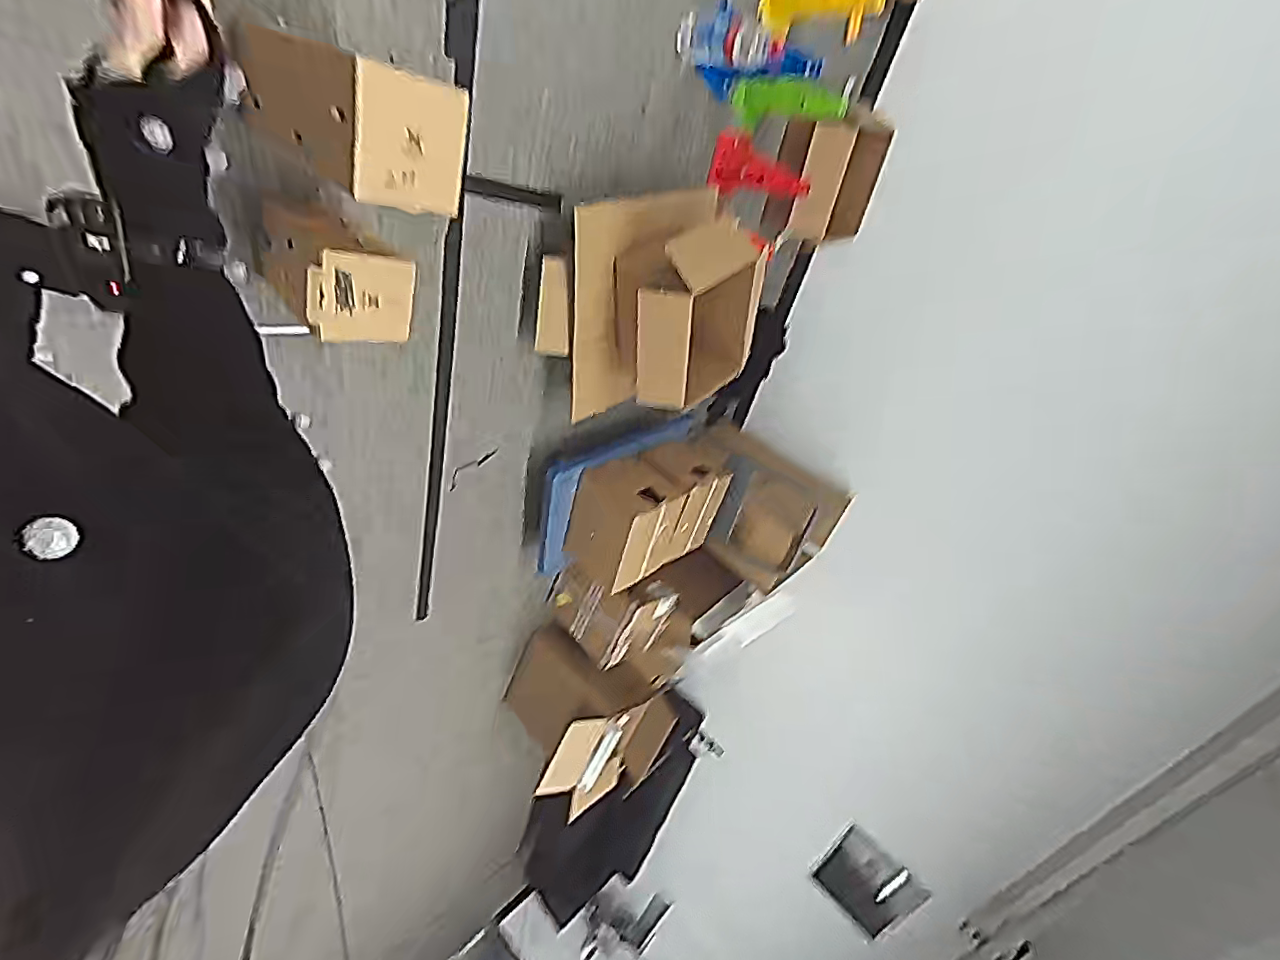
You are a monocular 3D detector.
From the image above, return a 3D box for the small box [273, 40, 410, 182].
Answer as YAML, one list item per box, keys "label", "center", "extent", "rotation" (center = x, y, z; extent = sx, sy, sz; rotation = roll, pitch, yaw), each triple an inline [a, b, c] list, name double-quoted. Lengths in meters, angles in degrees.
- label: "small box"
  center: [-0.503, -0.614, 0.923]
  extent: [0.168, 0.176, 0.179]
  rotation: [-18, 137, -46]

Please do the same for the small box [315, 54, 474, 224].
- label: "small box"
  center: [-0.387, -0.527, 0.843]
  extent: [0.168, 0.176, 0.179]
  rotation: [-17, 137, -46]

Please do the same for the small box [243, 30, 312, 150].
- label: "small box"
  center: [-0.610, -0.704, 1.005]
  extent: [0.179, 0.176, 0.168]
  rotation: [-20, 138, -46]

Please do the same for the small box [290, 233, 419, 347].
- label: "small box"
  center: [-0.571, -0.376, 1.075]
  extent: [0.179, 0.176, 0.168]
  rotation: [-15, 134, -49]

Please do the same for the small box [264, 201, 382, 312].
- label: "small box"
  center: [-0.682, -0.466, 1.158]
  extent: [0.168, 0.176, 0.179]
  rotation: [-13, 133, -49]
